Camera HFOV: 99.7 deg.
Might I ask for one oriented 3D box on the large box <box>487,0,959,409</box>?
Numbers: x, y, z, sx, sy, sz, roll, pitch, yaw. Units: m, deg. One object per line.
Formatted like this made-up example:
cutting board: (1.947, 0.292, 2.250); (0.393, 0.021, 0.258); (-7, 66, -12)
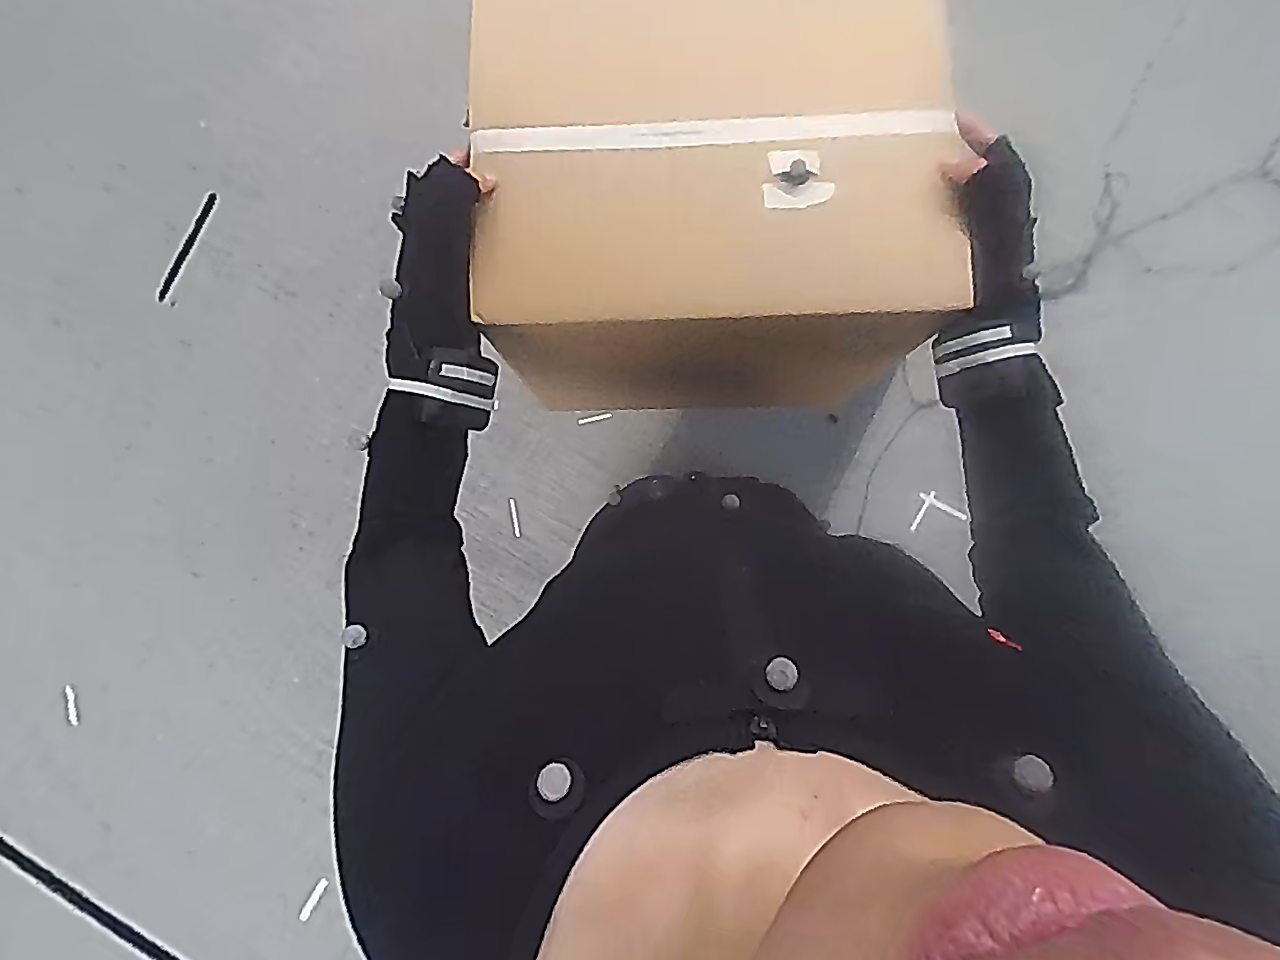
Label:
large box: (0.066, -0.273, 0.616); (0.408, 0.320, 0.320); (-1, 84, 1)
